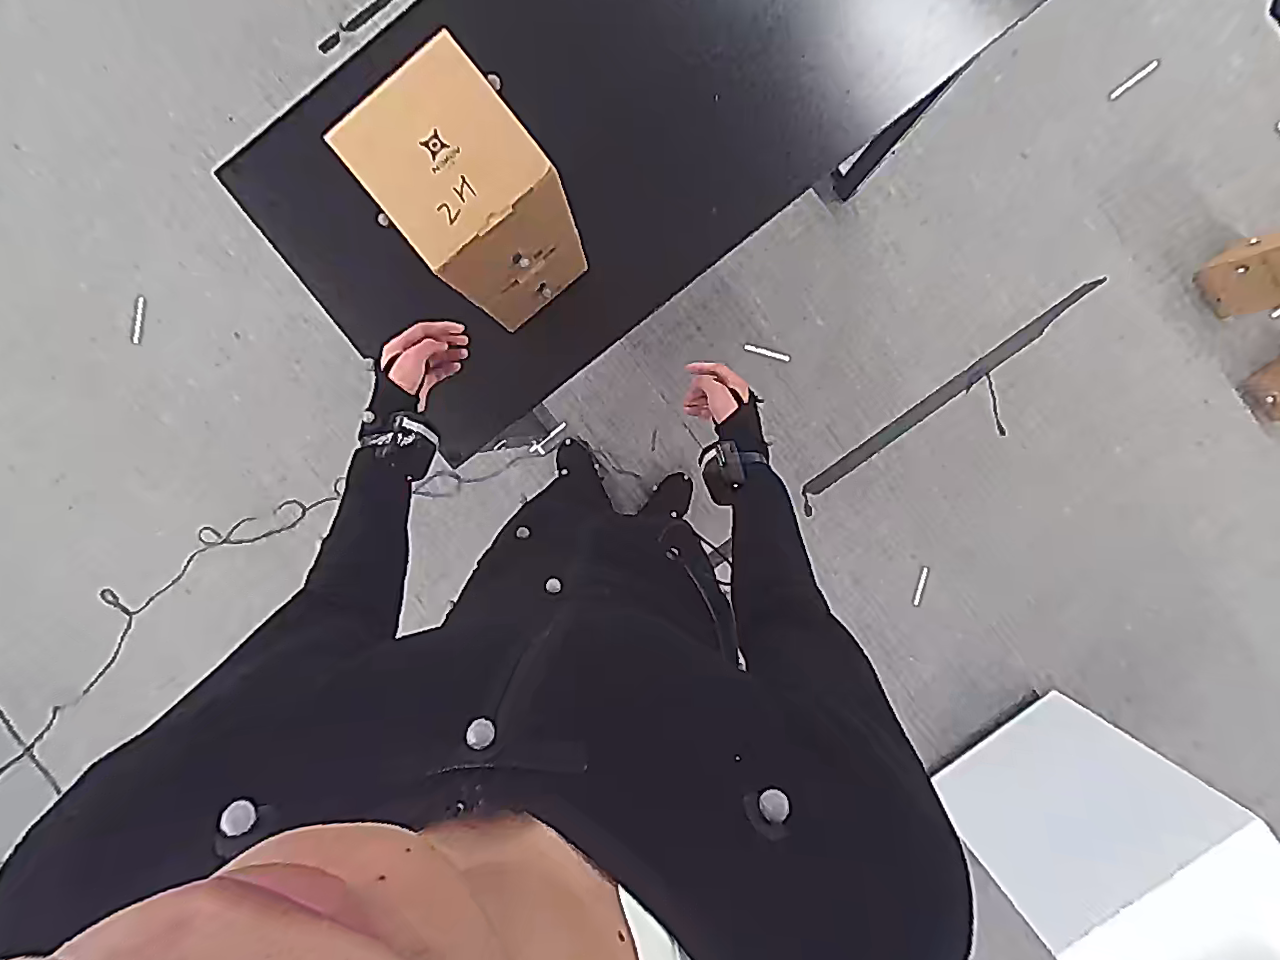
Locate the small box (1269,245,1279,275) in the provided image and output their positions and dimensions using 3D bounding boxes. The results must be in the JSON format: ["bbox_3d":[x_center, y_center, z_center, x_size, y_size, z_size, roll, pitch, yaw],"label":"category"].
[{"bbox_3d":[1.733,-0.557,1.324,0.168,0.176,0.179,-37,95,3],"label":"small box"}]

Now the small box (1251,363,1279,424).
[{"bbox_3d":[1.914,-0.270,1.517,0.179,0.176,0.168,-39,93,4],"label":"small box"}]

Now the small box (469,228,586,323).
[{"bbox_3d":[-0.196,-0.348,0.785,0.168,0.176,0.179,-39,94,3],"label":"small box"}]

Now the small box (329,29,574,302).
[{"bbox_3d":[-0.197,-0.336,0.620,0.168,0.176,0.179,-39,94,4],"label":"small box"}]
